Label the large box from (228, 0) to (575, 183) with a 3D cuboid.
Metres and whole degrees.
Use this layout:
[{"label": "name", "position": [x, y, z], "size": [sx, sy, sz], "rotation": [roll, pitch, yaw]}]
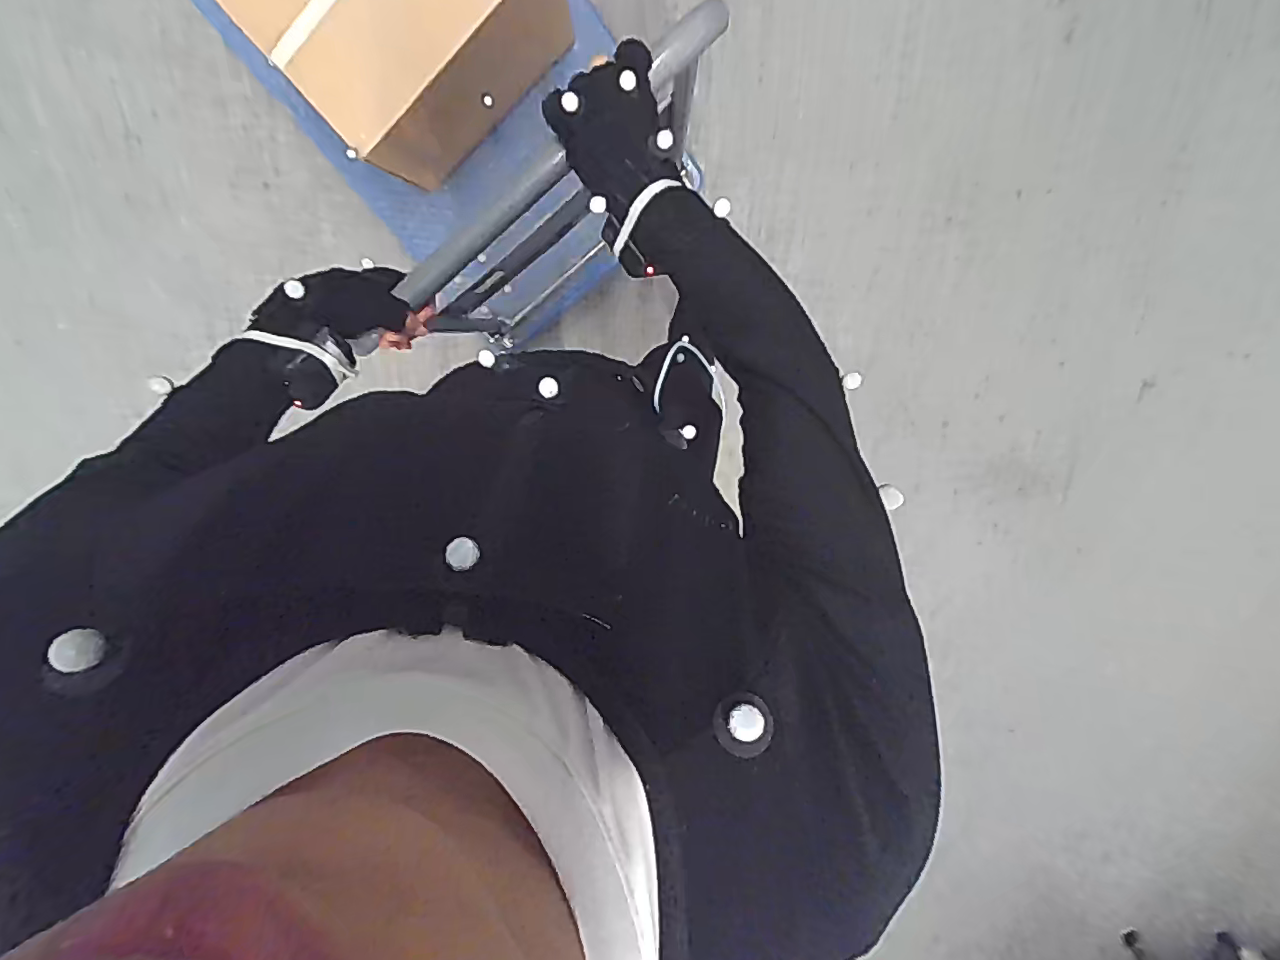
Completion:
[{"label": "large box", "position": [-0.361, -0.776, 0.878], "size": [0.408, 0.320, 0.320], "rotation": [-40, 105, 13]}]
